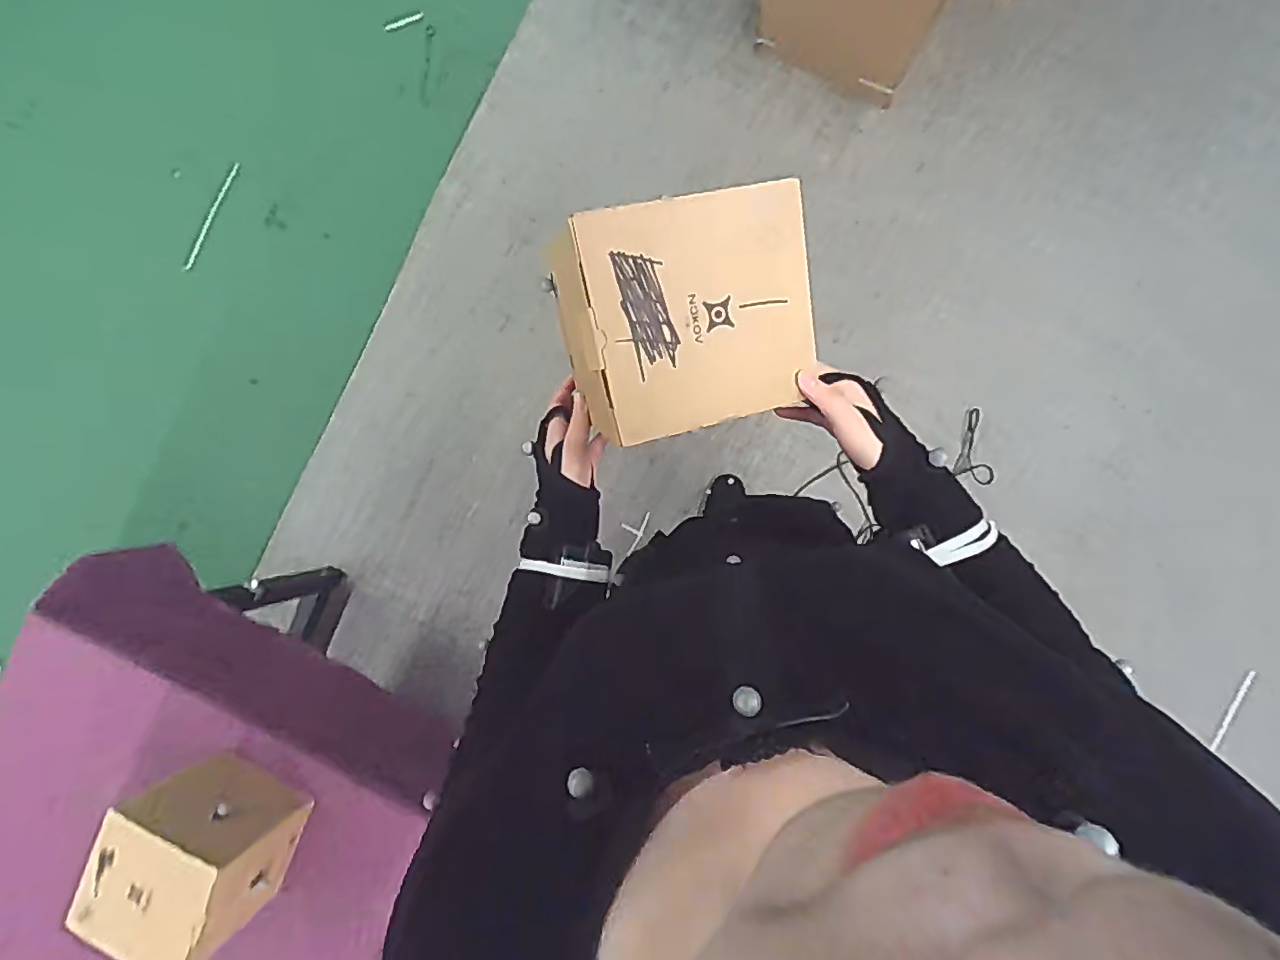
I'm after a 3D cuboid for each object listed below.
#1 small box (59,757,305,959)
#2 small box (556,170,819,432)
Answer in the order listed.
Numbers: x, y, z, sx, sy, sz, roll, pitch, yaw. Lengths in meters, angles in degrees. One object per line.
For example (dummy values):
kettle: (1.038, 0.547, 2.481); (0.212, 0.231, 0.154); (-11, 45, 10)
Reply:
small box: (-0.617, 0.525, 0.753); (0.179, 0.176, 0.168); (22, 91, 6)
small box: (0.029, -0.149, 0.474); (0.179, 0.176, 0.168); (-15, 108, -12)
